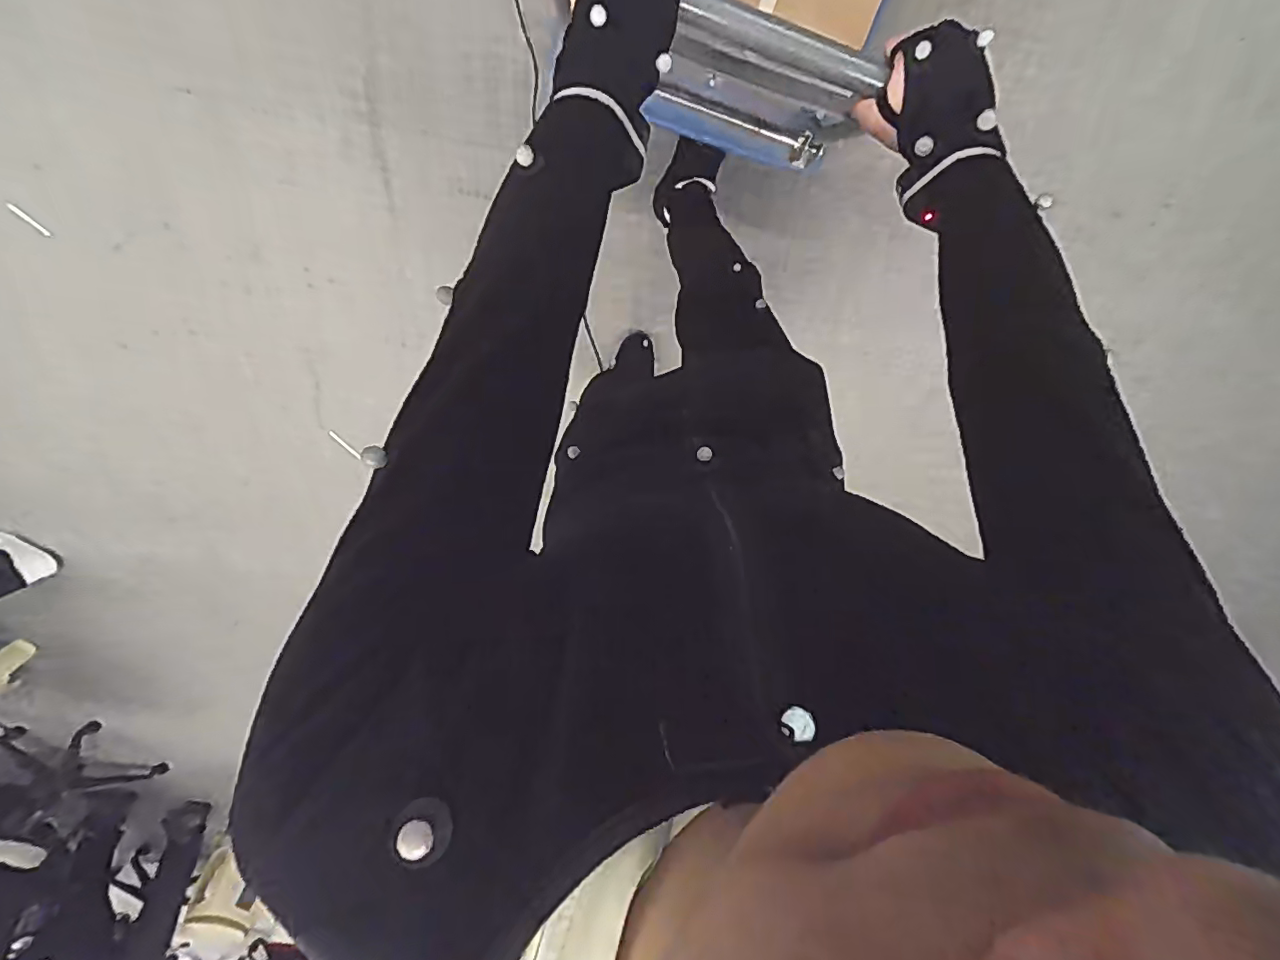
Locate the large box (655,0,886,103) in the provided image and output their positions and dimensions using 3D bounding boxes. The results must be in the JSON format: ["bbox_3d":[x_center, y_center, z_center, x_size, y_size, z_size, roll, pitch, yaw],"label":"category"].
[{"bbox_3d":[0.220,-0.855,0.810,0.320,0.320,0.408,14,120,-9],"label":"large box"}]
